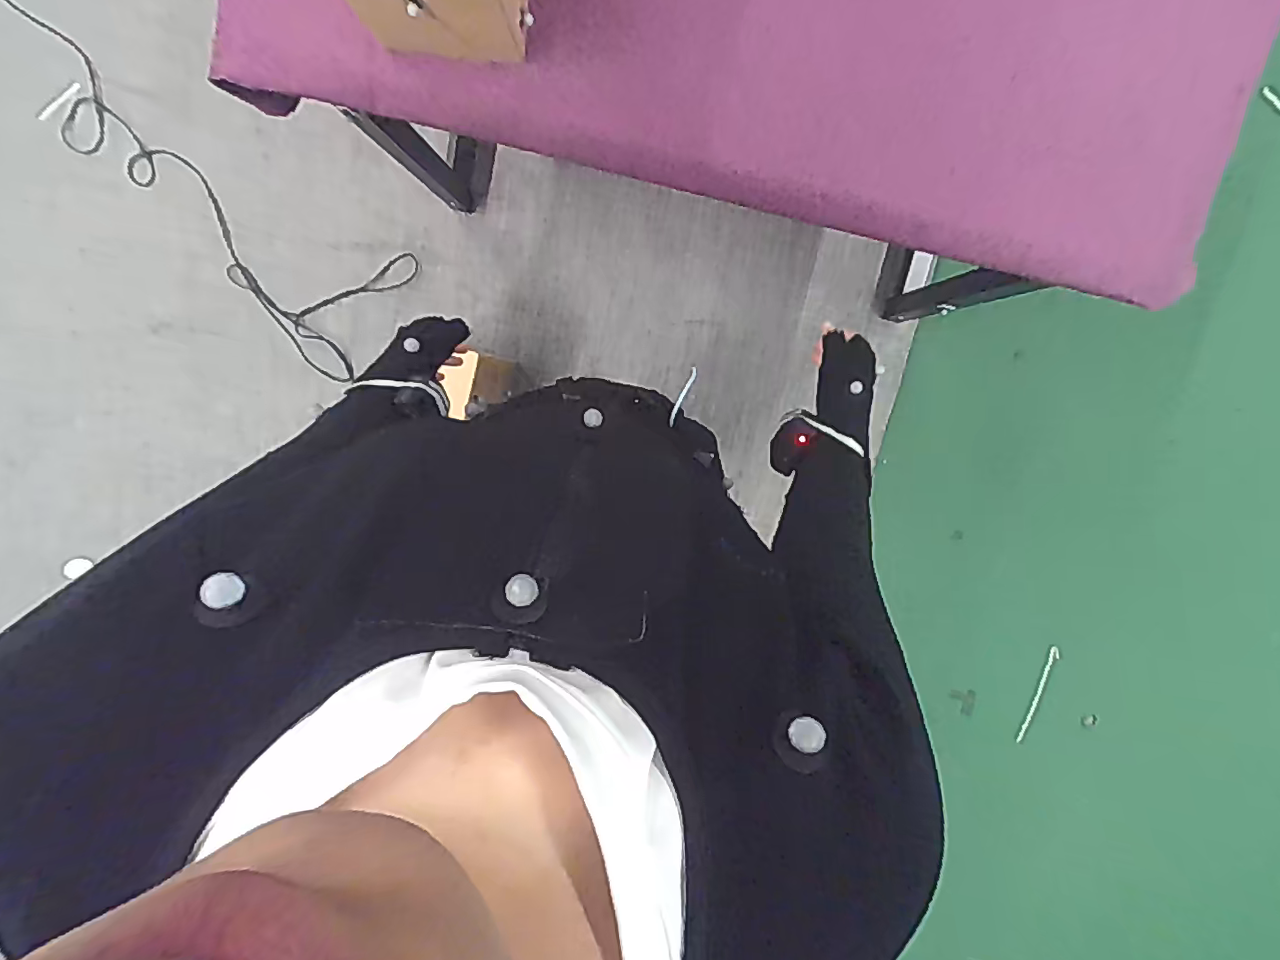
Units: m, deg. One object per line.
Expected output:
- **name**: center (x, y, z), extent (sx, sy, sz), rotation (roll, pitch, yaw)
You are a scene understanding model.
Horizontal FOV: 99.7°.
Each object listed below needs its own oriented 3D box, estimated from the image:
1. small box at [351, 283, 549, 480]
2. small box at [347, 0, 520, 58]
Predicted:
- **small box**: center (-0.242, -0.114, 0.663), extent (0.168, 0.179, 0.176), rotation (54, 131, 31)
- **small box**: center (-0.219, -0.578, 0.556), extent (0.179, 0.176, 0.168), rotation (7, 99, -1)
